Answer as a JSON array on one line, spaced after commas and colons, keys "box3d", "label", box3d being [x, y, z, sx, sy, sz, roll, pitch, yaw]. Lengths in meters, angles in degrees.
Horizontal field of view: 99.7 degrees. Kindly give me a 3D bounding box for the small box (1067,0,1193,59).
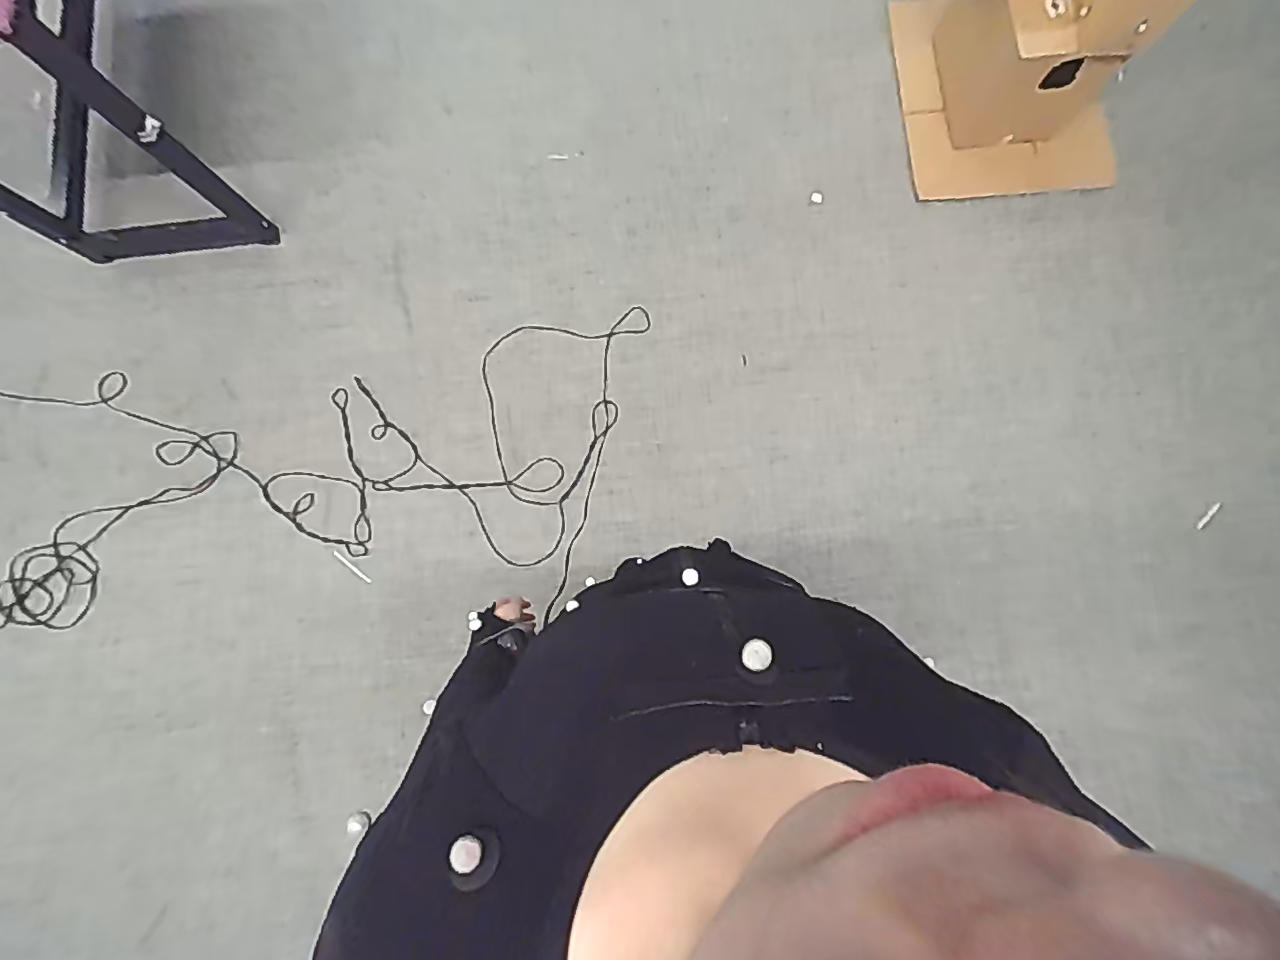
[{"box3d": [1.168, -1.144, 1.285, 0.168, 0.176, 0.179, -2, 79, 1], "label": "small box"}]
